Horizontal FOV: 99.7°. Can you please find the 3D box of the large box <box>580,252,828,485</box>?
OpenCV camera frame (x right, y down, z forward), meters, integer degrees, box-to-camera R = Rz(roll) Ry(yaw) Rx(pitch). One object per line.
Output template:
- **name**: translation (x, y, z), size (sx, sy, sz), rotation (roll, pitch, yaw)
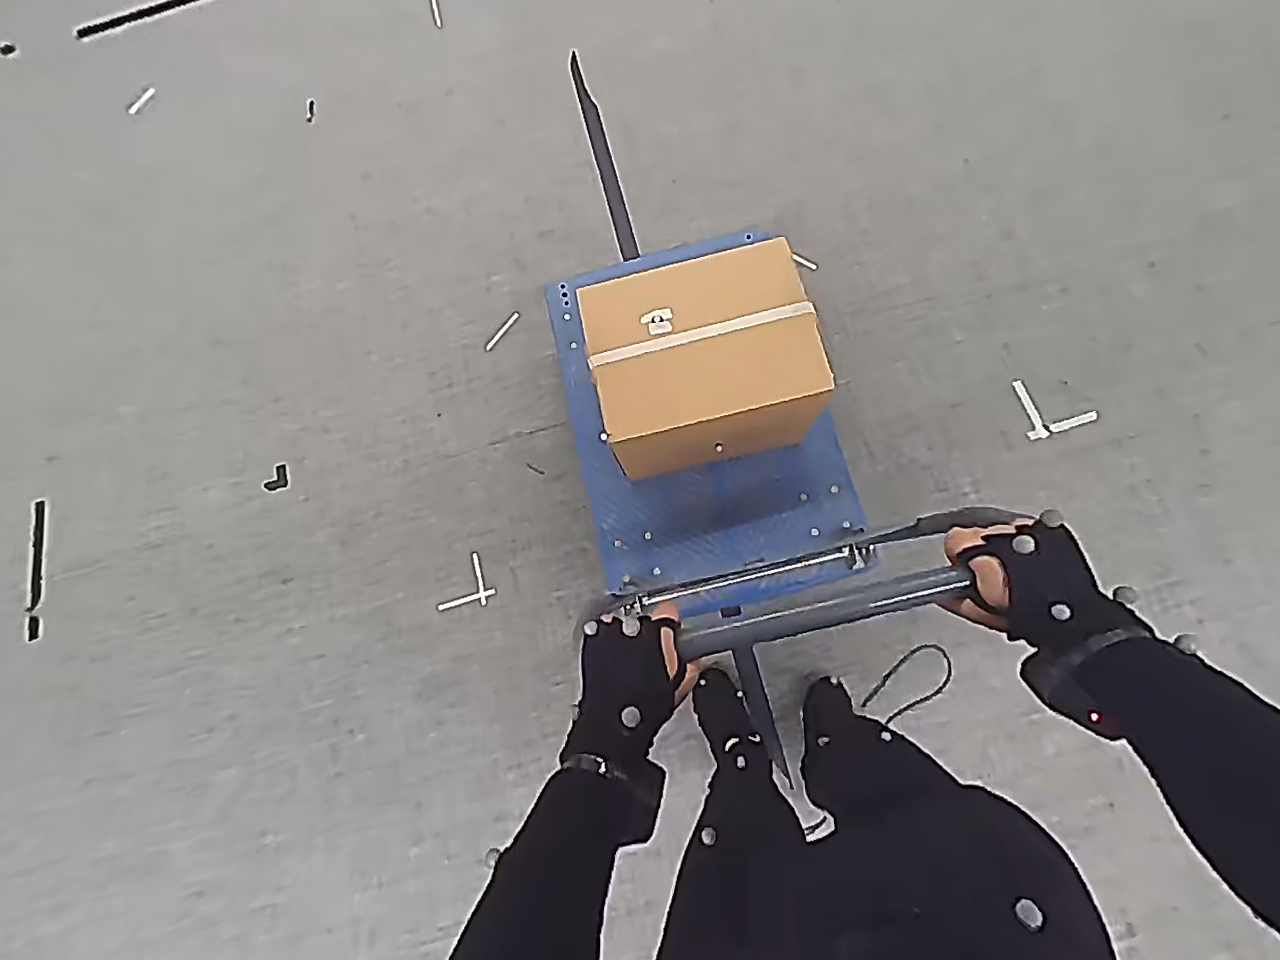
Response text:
- **large box**: translation (0.127, -0.208, 1.141), size (0.408, 0.320, 0.320), rotation (-14, 75, 3)
